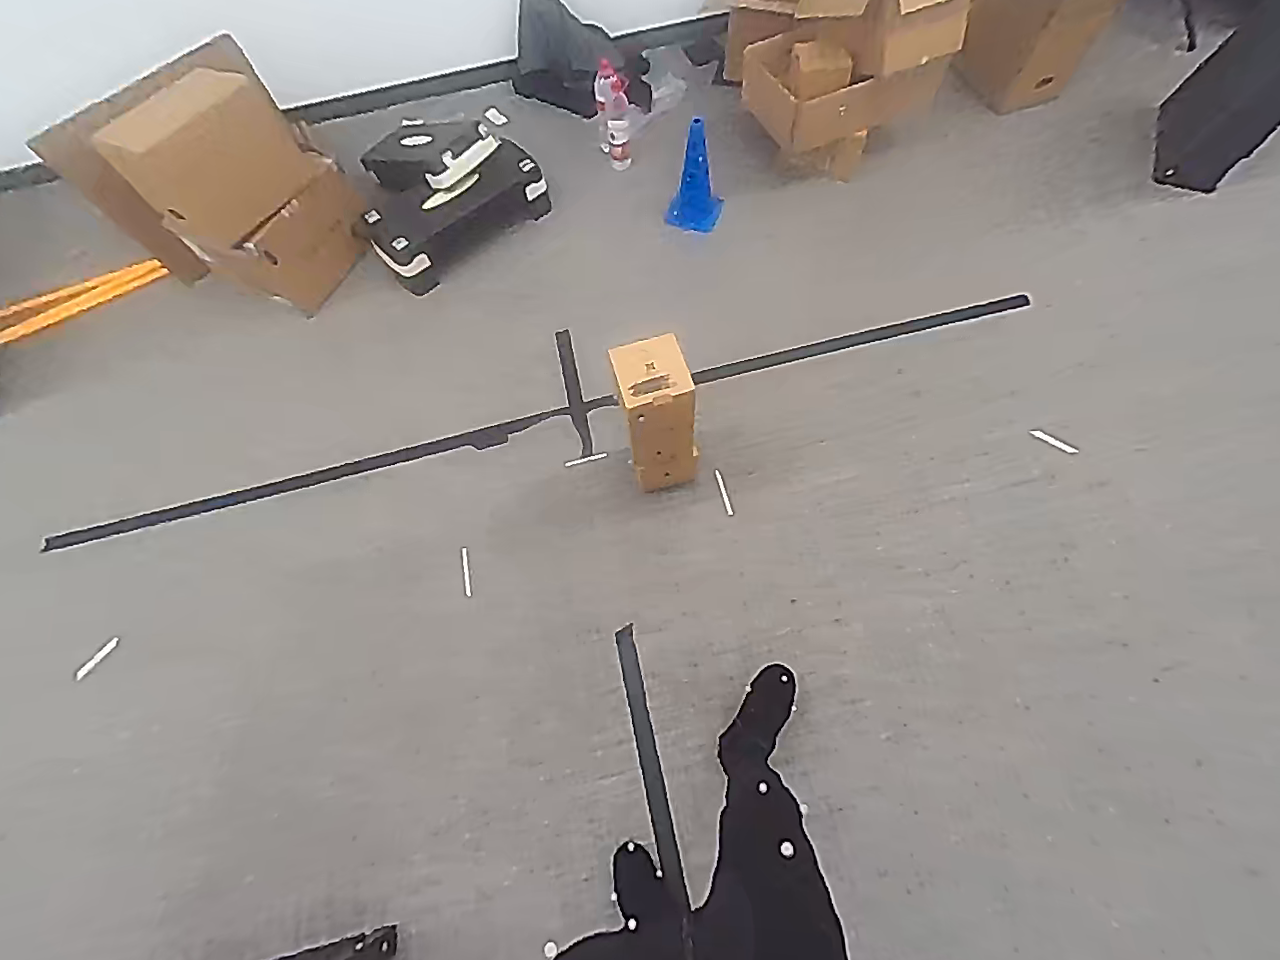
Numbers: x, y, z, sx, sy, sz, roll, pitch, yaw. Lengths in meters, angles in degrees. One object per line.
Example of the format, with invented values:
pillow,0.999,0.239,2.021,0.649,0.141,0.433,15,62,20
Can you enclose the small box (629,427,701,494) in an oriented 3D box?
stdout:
small box,0.075,-0.076,1.621,0.179,0.176,0.168,-15,65,-2

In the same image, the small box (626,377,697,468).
small box,0.056,-0.153,1.478,0.168,0.176,0.179,-10,66,-1
